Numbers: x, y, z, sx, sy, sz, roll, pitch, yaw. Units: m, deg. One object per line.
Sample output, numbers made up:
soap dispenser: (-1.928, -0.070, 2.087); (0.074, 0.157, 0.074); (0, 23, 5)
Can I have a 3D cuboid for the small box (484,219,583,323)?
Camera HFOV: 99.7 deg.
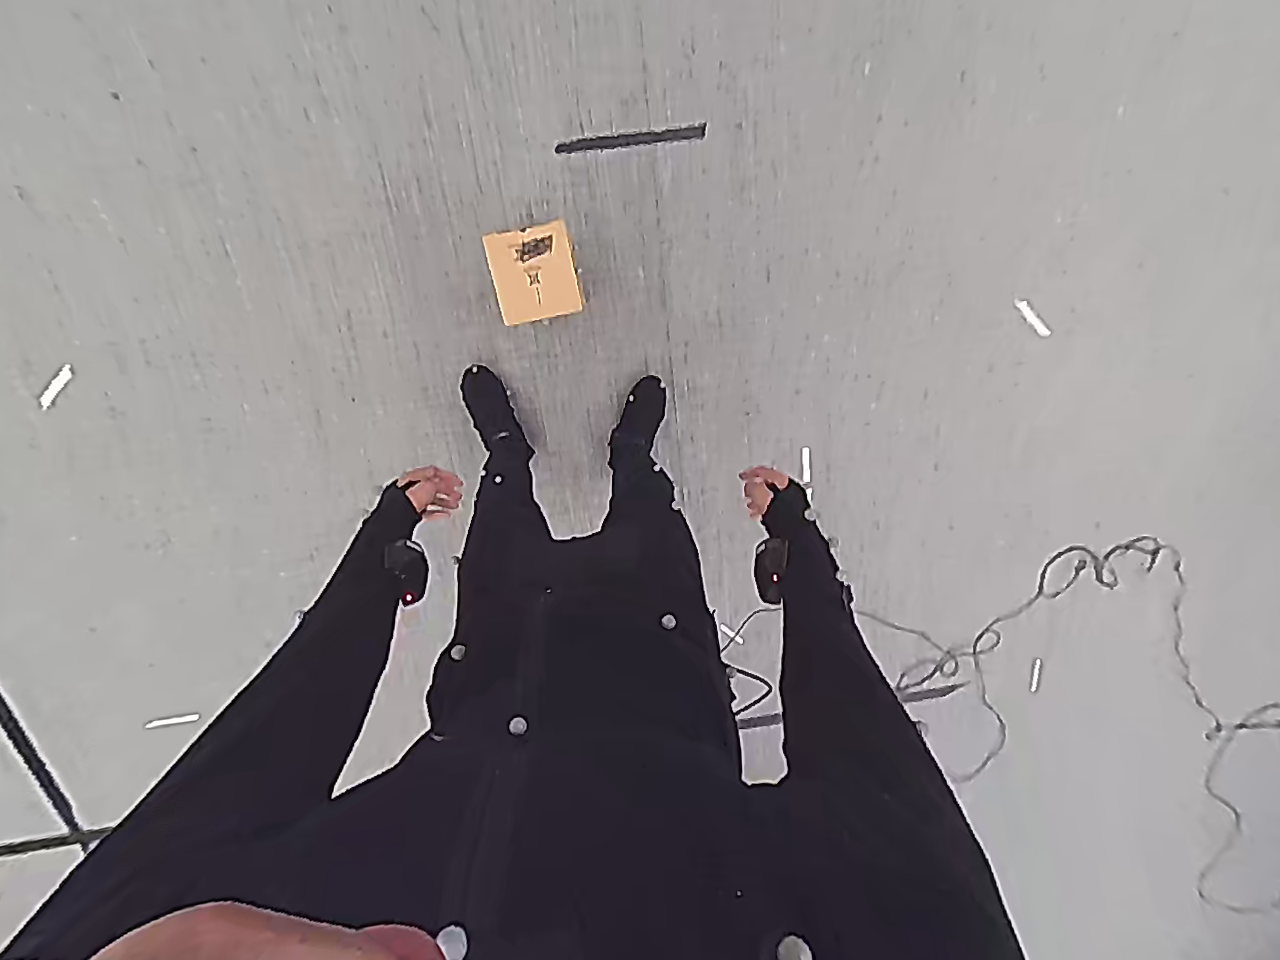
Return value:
small box: (-0.221, -0.442, 1.155); (0.168, 0.176, 0.179); (-12, 111, -2)
